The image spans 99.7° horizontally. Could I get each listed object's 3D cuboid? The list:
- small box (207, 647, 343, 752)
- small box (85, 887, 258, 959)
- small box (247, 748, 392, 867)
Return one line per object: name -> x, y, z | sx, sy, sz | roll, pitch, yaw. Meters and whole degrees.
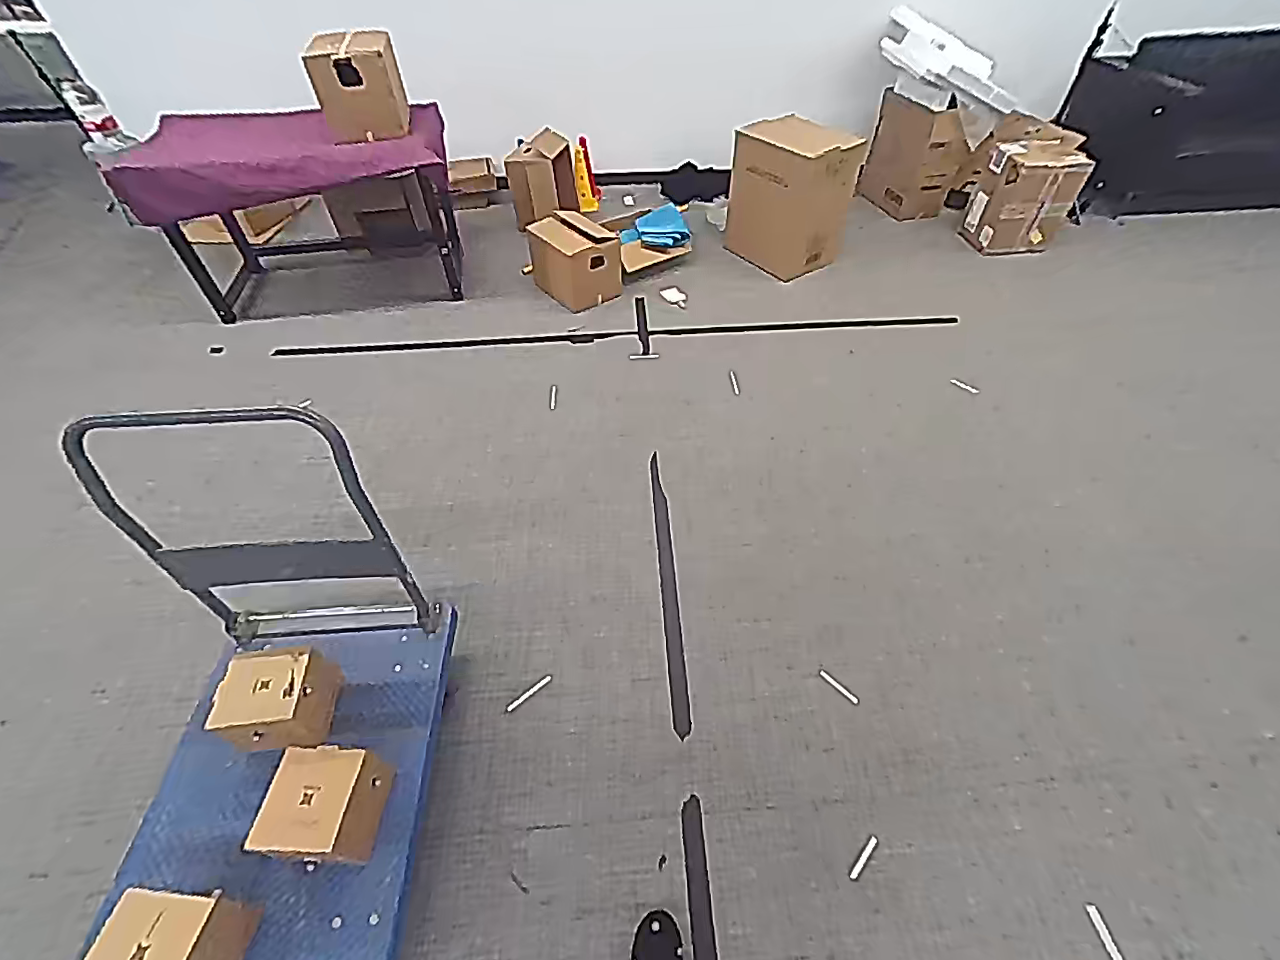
small box -> -0.817, 0.502, 1.231 | 0.179, 0.176, 0.168 | -6, 48, -4
small box -> -0.812, 0.830, 0.929 | 0.168, 0.176, 0.179 | 5, 46, 4
small box -> -0.627, 0.659, 1.089 | 0.168, 0.176, 0.179 | 0, 49, 3
